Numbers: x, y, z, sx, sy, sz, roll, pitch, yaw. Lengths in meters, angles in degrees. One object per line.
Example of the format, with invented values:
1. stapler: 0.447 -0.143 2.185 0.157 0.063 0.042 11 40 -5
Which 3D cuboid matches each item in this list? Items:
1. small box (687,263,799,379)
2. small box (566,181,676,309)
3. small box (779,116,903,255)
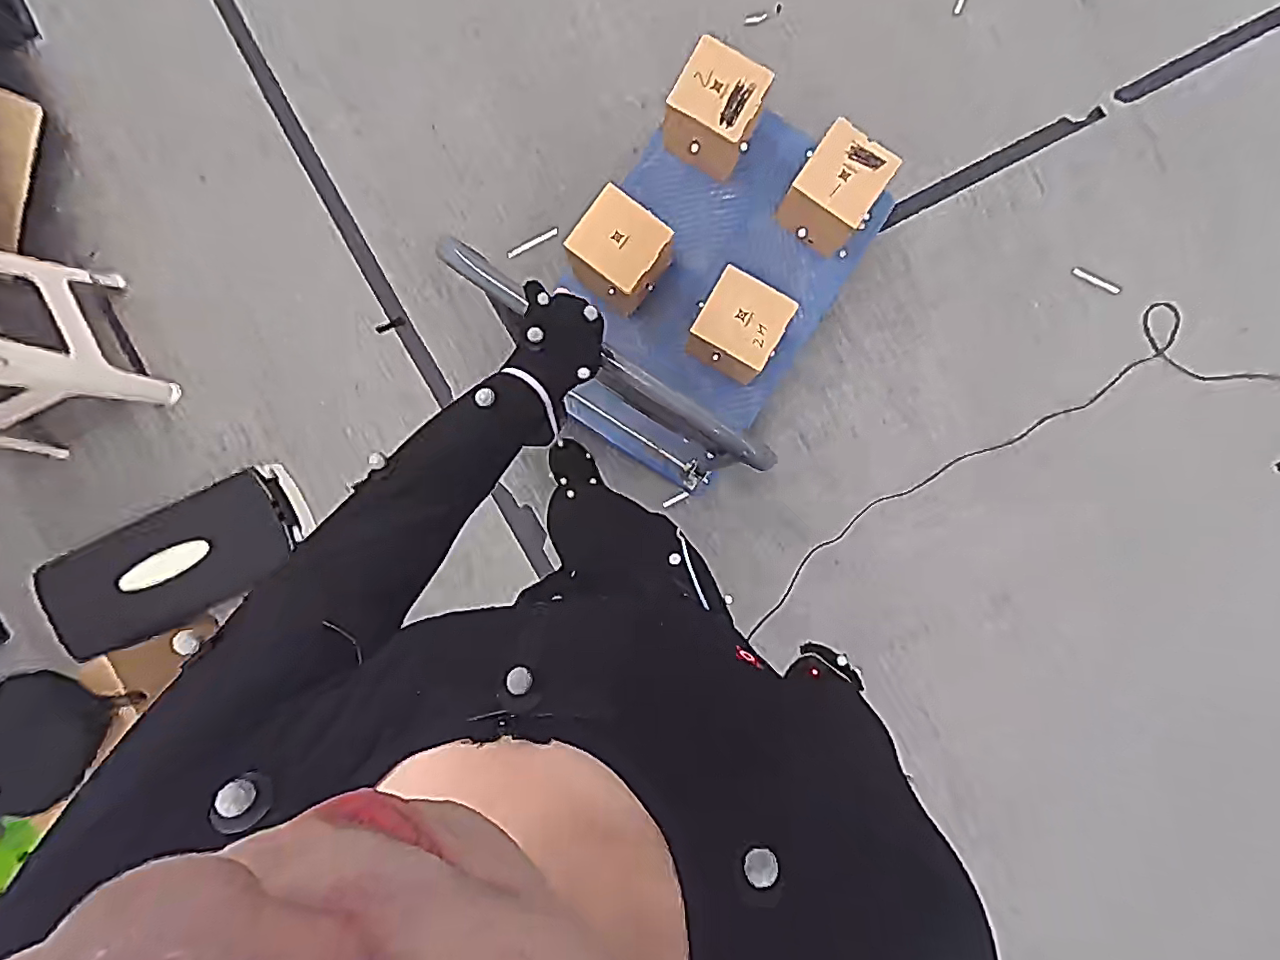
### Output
1. small box: 0.220 -0.344 1.210 0.179 0.176 0.168 30 91 -1
2. small box: -0.042 -0.510 1.206 0.179 0.176 0.168 37 90 -2
3. small box: 0.435 -0.645 1.205 0.168 0.176 0.179 35 92 -1
